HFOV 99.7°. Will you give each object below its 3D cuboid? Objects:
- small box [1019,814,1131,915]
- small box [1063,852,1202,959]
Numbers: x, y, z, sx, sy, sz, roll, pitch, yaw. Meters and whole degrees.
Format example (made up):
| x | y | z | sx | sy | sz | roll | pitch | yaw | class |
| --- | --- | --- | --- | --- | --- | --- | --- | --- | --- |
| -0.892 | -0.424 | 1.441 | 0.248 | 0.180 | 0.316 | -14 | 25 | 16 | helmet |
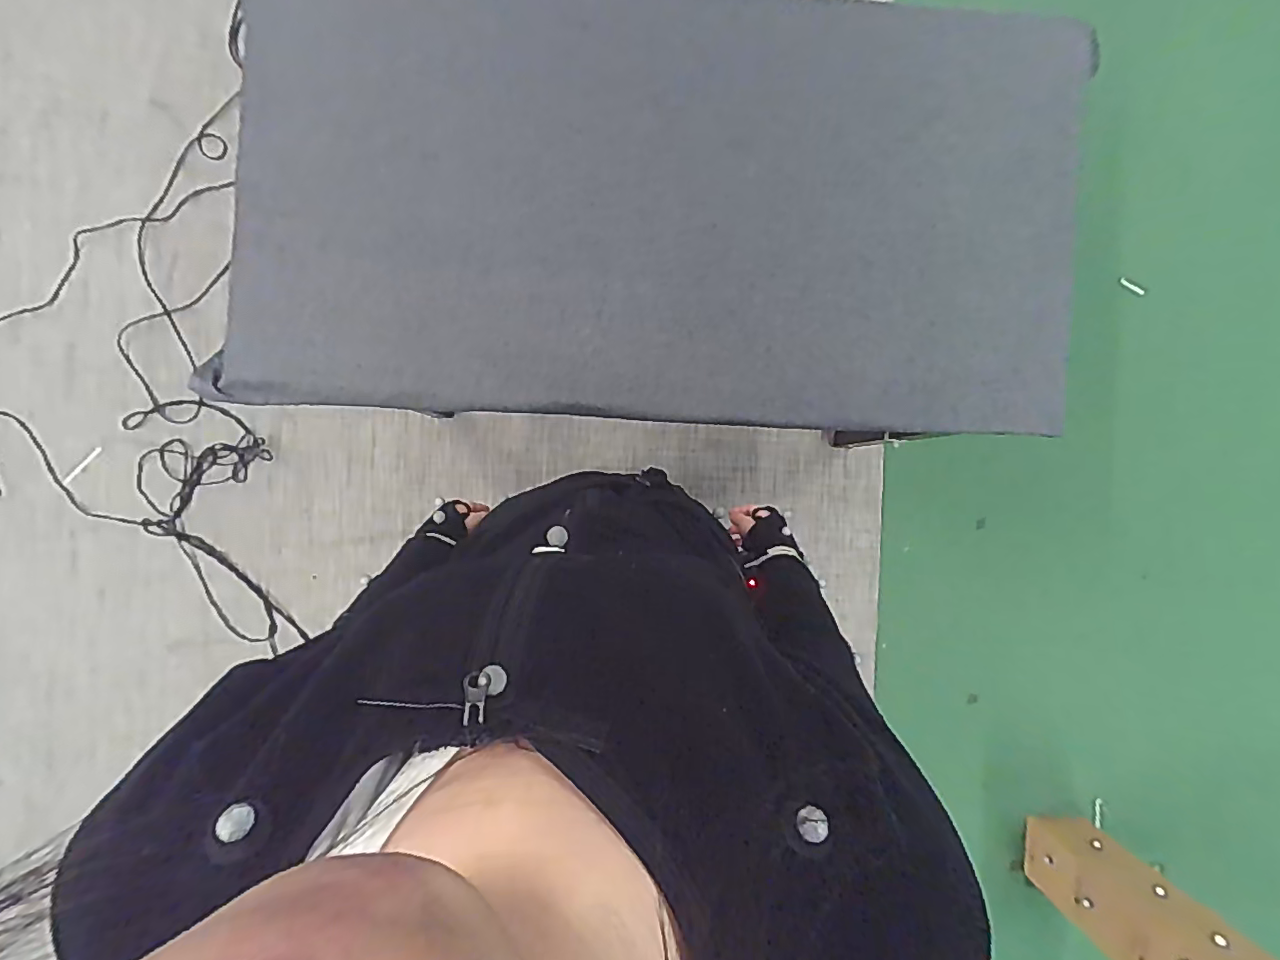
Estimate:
| x | y | z | sx | sy | sz | roll | pitch | yaw | class |
| --- | --- | --- | --- | --- | --- | --- | --- | --- | --- |
| 1.170 | 1.036 | 1.466 | 0.179 | 0.176 | 0.168 | 3 | 90 | -2 | small box |
| 1.176 | 1.034 | 1.301 | 0.179 | 0.176 | 0.168 | 5 | 90 | -2 | small box |
